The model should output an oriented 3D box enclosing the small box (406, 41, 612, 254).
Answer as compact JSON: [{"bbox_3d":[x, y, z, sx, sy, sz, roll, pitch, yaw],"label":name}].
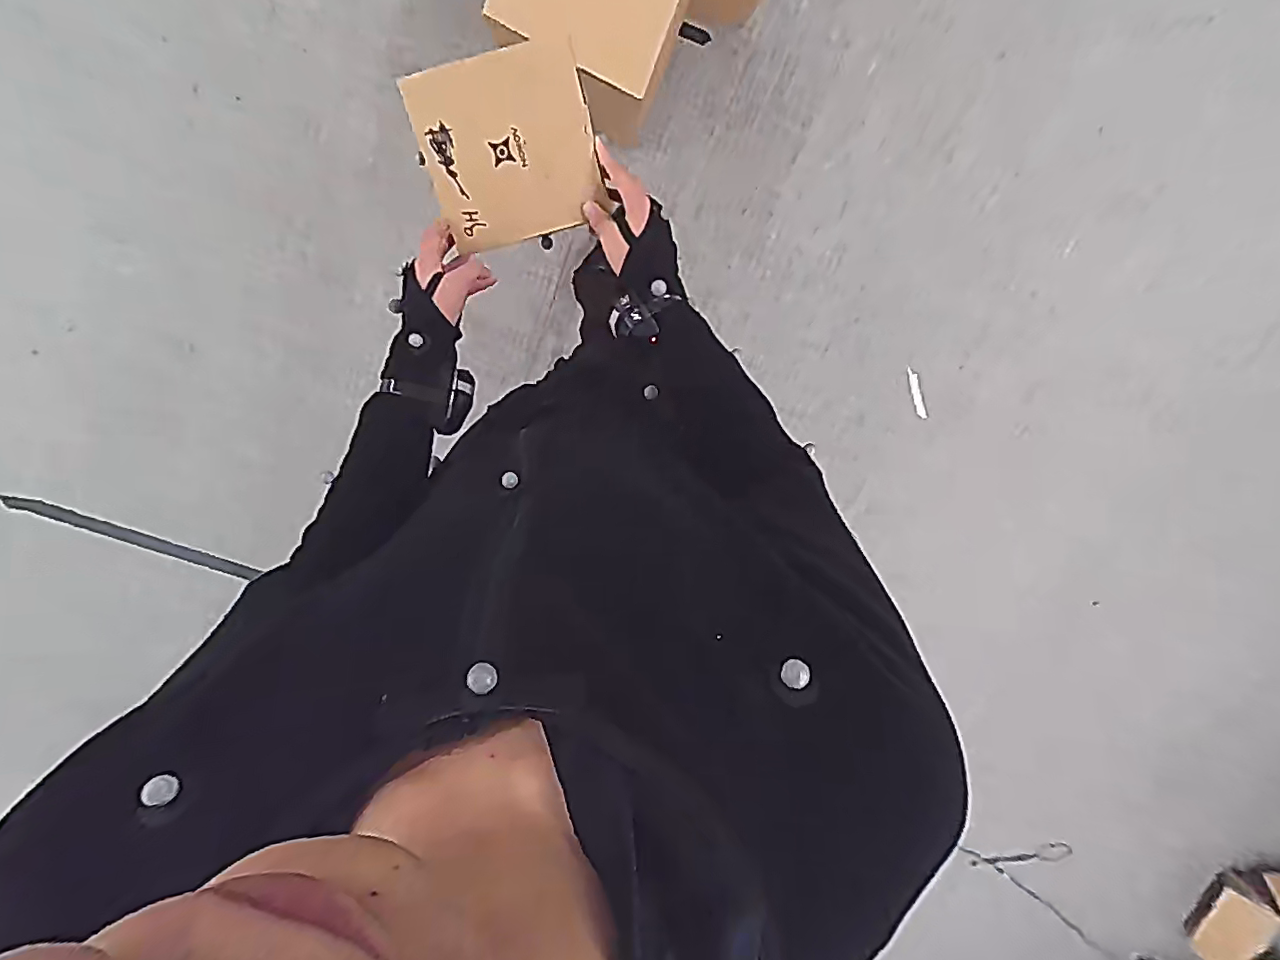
[{"bbox_3d":[-0.139,-0.378,0.638,0.179,0.176,0.168,-14,116,1],"label":"small box"}]
